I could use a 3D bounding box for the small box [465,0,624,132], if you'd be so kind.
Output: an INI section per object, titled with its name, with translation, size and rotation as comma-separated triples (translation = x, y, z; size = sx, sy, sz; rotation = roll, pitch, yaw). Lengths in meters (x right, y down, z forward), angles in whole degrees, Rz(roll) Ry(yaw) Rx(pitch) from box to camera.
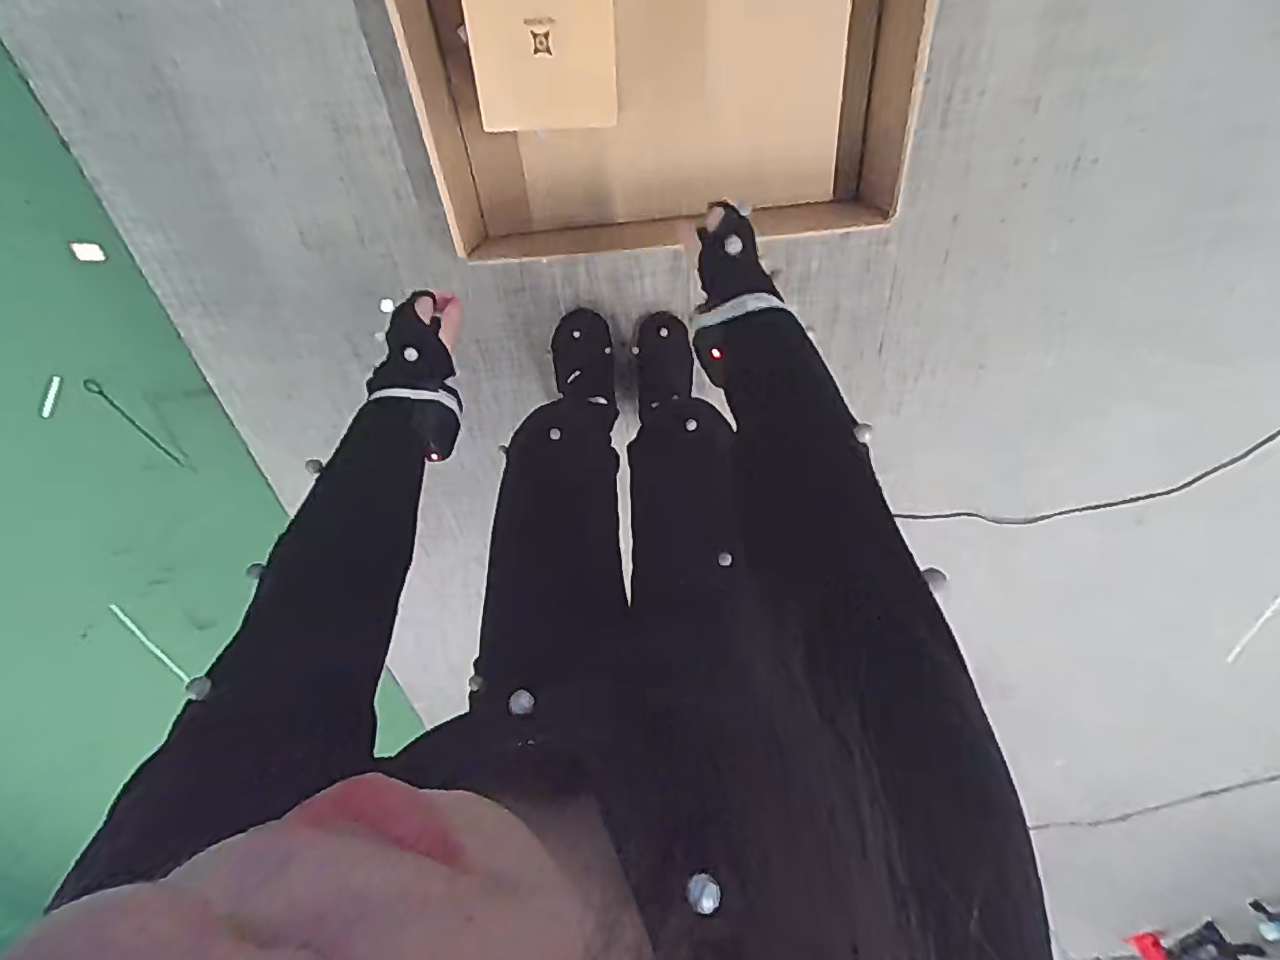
[small box]
translation = -0.106, -0.541, 0.665
size = 0.168, 0.176, 0.179
rotation = -1, 127, 1
